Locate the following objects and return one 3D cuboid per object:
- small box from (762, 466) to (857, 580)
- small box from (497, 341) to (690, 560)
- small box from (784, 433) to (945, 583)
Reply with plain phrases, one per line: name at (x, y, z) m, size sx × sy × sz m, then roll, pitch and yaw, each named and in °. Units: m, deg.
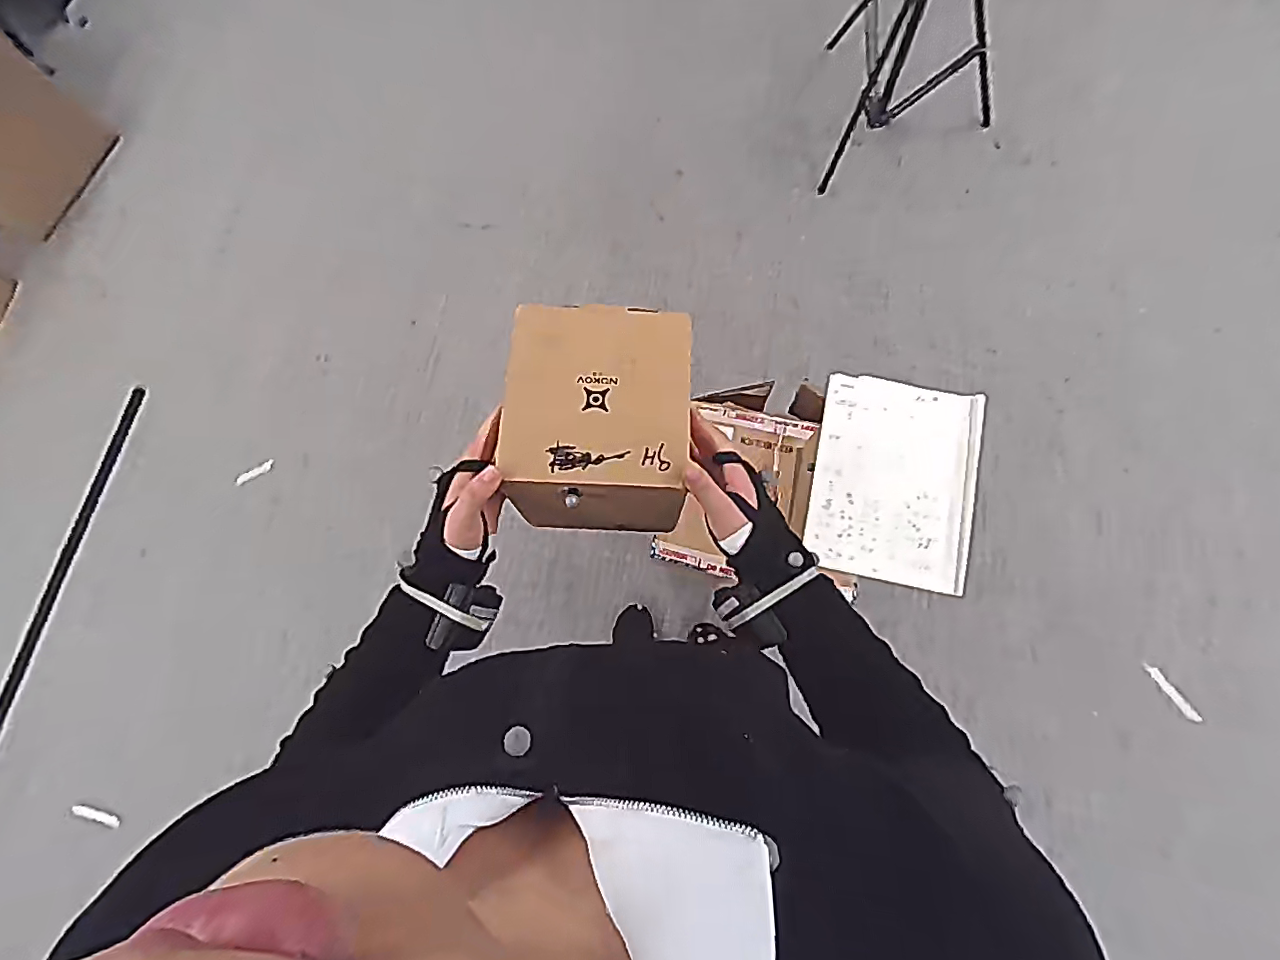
small box at (0.328, 0.084, 0.967) m, size 0.179 × 0.176 × 0.168 m, roll 9°, pitch 78°, yaw 5°
small box at (-0.039, -0.021, 0.563) m, size 0.168 × 0.176 × 0.179 m, roll 2°, pitch 72°, yaw 0°
small box at (0.322, 0.050, 0.807) m, size 0.168 × 0.176 × 0.179 m, roll 12°, pitch 80°, yaw 6°
